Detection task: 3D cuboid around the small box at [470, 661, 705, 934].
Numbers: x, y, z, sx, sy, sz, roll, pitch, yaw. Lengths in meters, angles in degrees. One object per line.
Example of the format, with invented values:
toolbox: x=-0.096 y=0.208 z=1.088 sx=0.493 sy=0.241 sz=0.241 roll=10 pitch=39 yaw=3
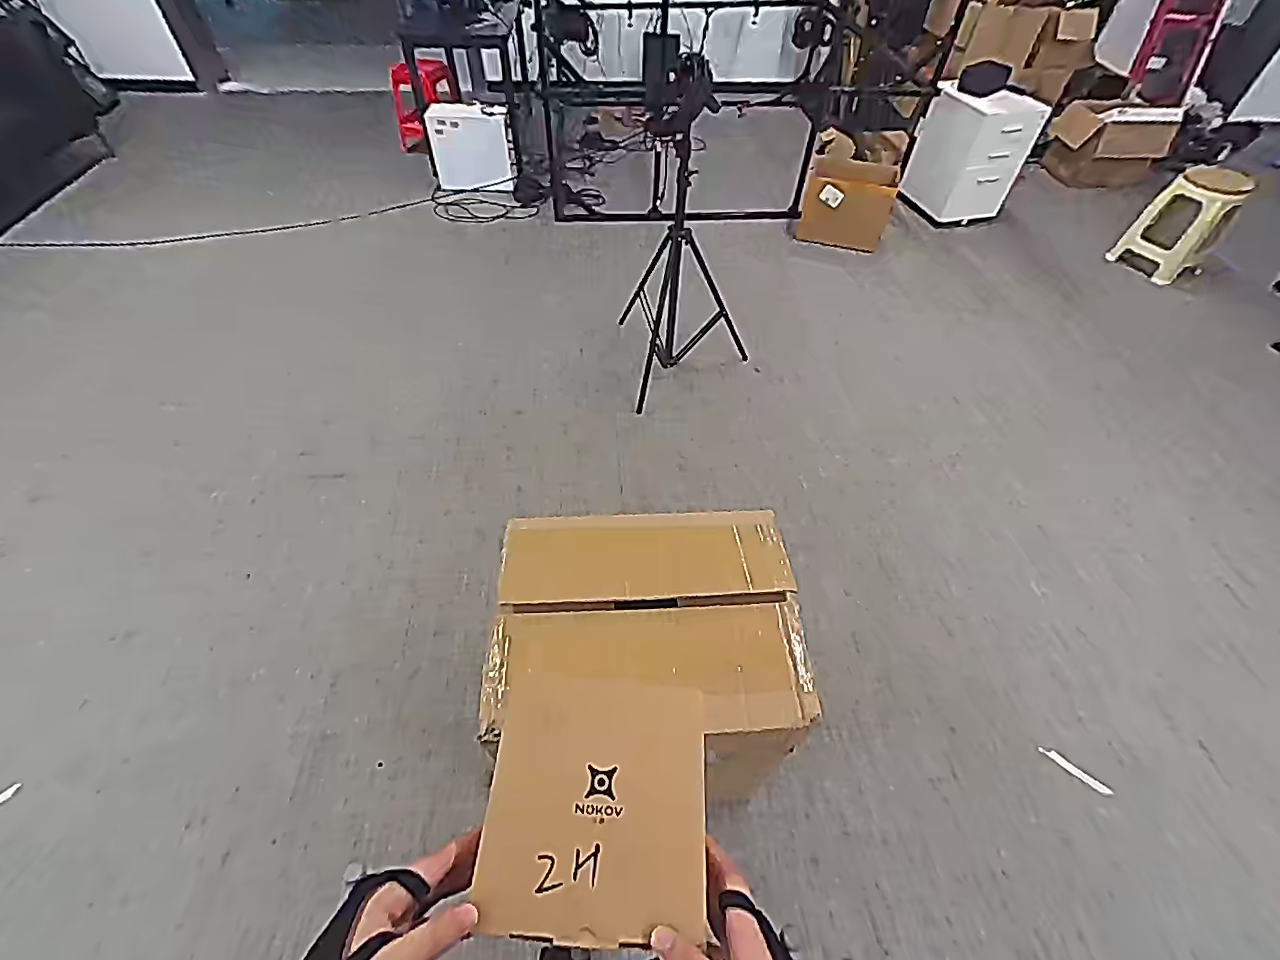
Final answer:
small box: x=-0.039 y=0.284 z=0.482 sx=0.168 sy=0.176 sz=0.179 roll=6 pitch=51 yaw=-2
